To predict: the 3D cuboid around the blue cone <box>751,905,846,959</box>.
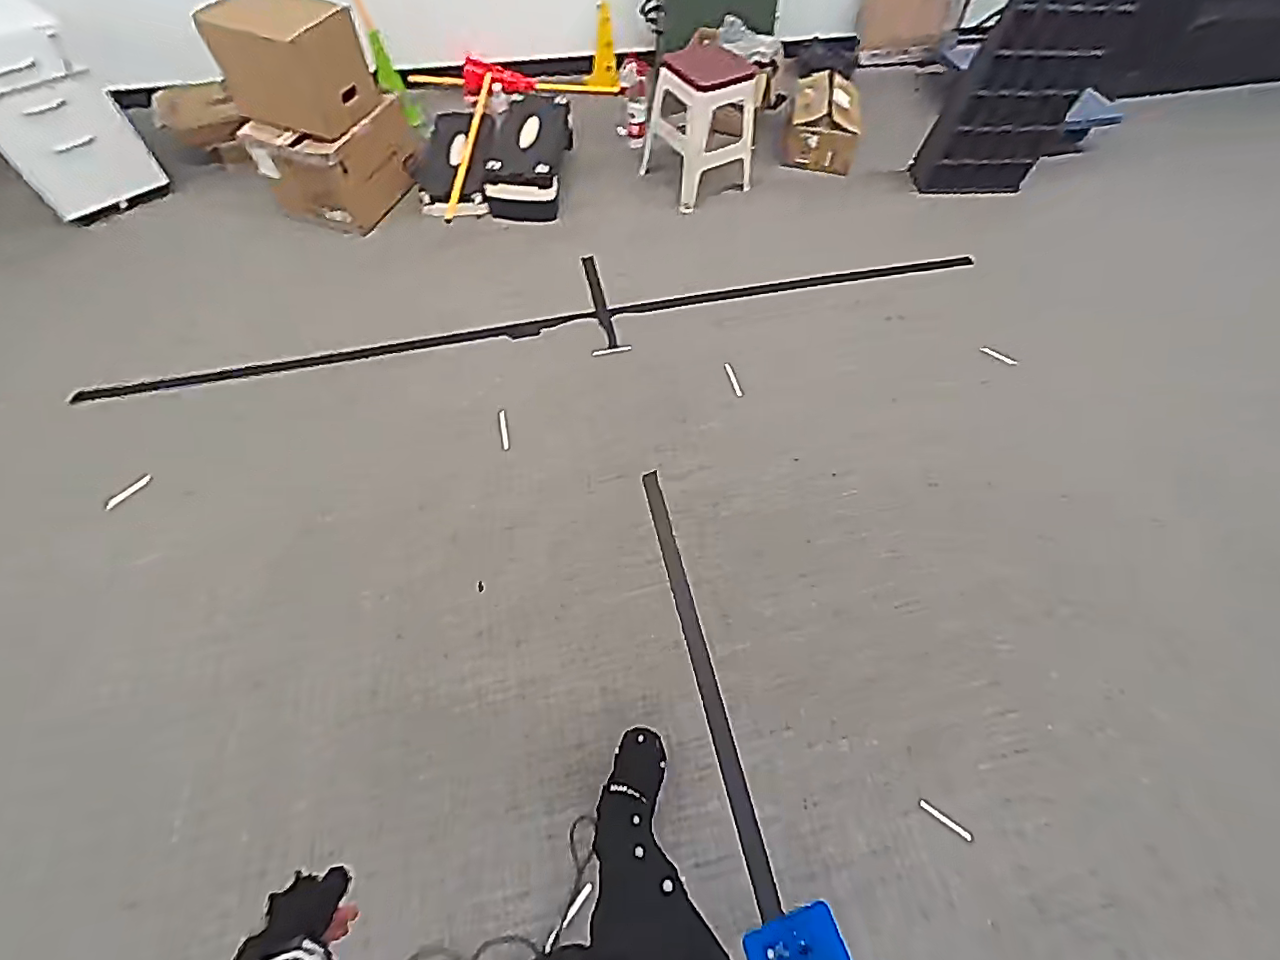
[{"bbox_3d":[0.339,0.900,0.935,0.192,0.380,0.193,-13,60,-12],"label":"blue cone"}]
